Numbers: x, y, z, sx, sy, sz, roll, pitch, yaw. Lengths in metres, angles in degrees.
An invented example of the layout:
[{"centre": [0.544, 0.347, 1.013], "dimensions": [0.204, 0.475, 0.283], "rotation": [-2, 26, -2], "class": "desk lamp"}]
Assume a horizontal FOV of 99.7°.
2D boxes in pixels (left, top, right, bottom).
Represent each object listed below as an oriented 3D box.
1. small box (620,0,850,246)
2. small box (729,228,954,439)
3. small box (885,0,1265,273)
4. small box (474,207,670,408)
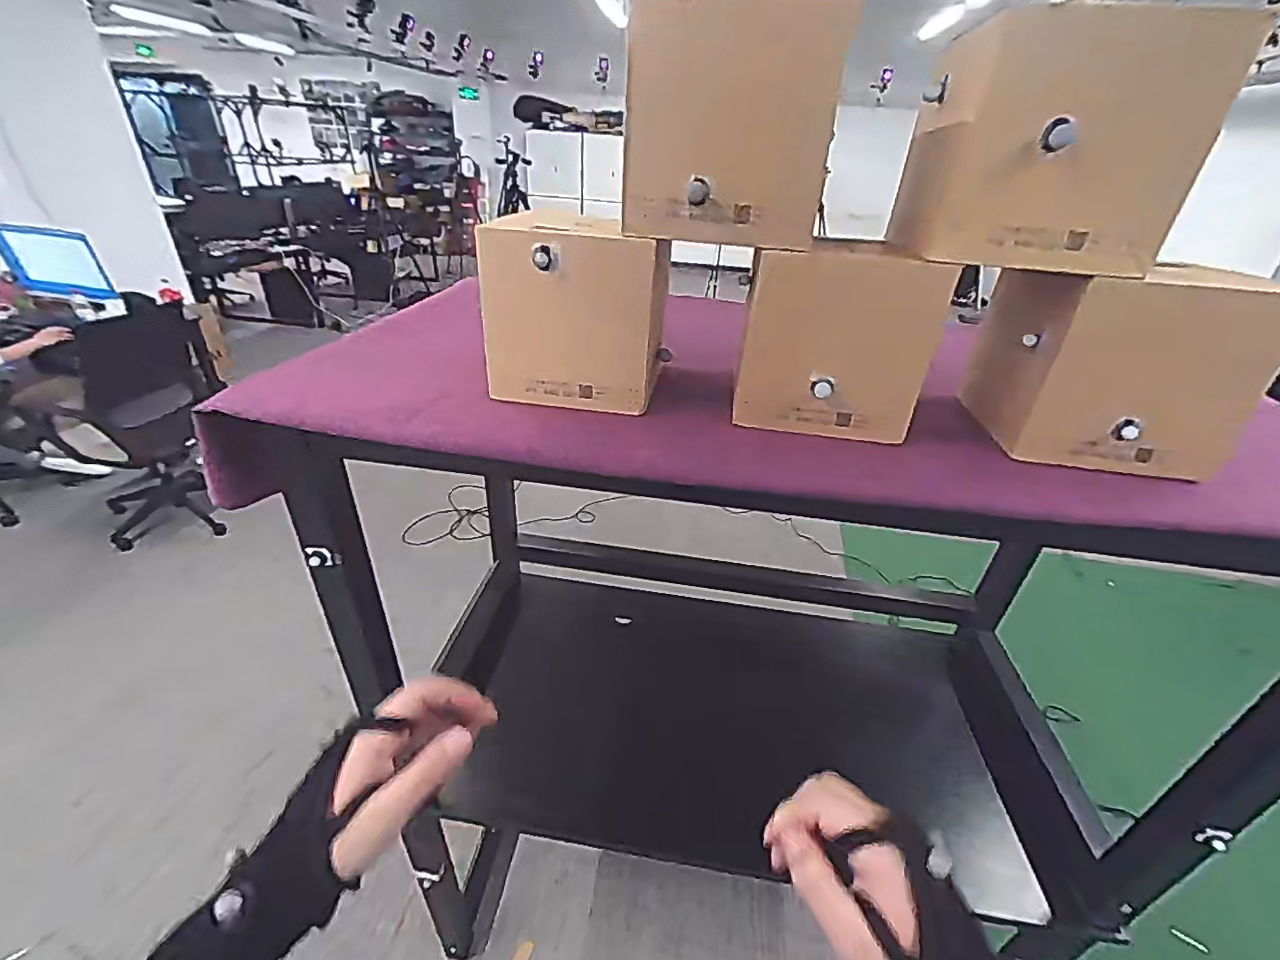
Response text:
[{"centre": [0.077, -0.318, 0.494], "dimensions": [0.168, 0.176, 0.179], "rotation": [8, 31, 8], "class": "small box"}, {"centre": [0.187, -0.161, 0.563], "dimensions": [0.168, 0.176, 0.179], "rotation": [7, 31, 6], "class": "small box"}, {"centre": [0.331, -0.281, 0.464], "dimensions": [0.168, 0.176, 0.179], "rotation": [8, 30, 7], "class": "small box"}, {"centre": [-0.064, -0.192, 0.585], "dimensions": [0.168, 0.176, 0.179], "rotation": [7, 30, 6], "class": "small box"}]
